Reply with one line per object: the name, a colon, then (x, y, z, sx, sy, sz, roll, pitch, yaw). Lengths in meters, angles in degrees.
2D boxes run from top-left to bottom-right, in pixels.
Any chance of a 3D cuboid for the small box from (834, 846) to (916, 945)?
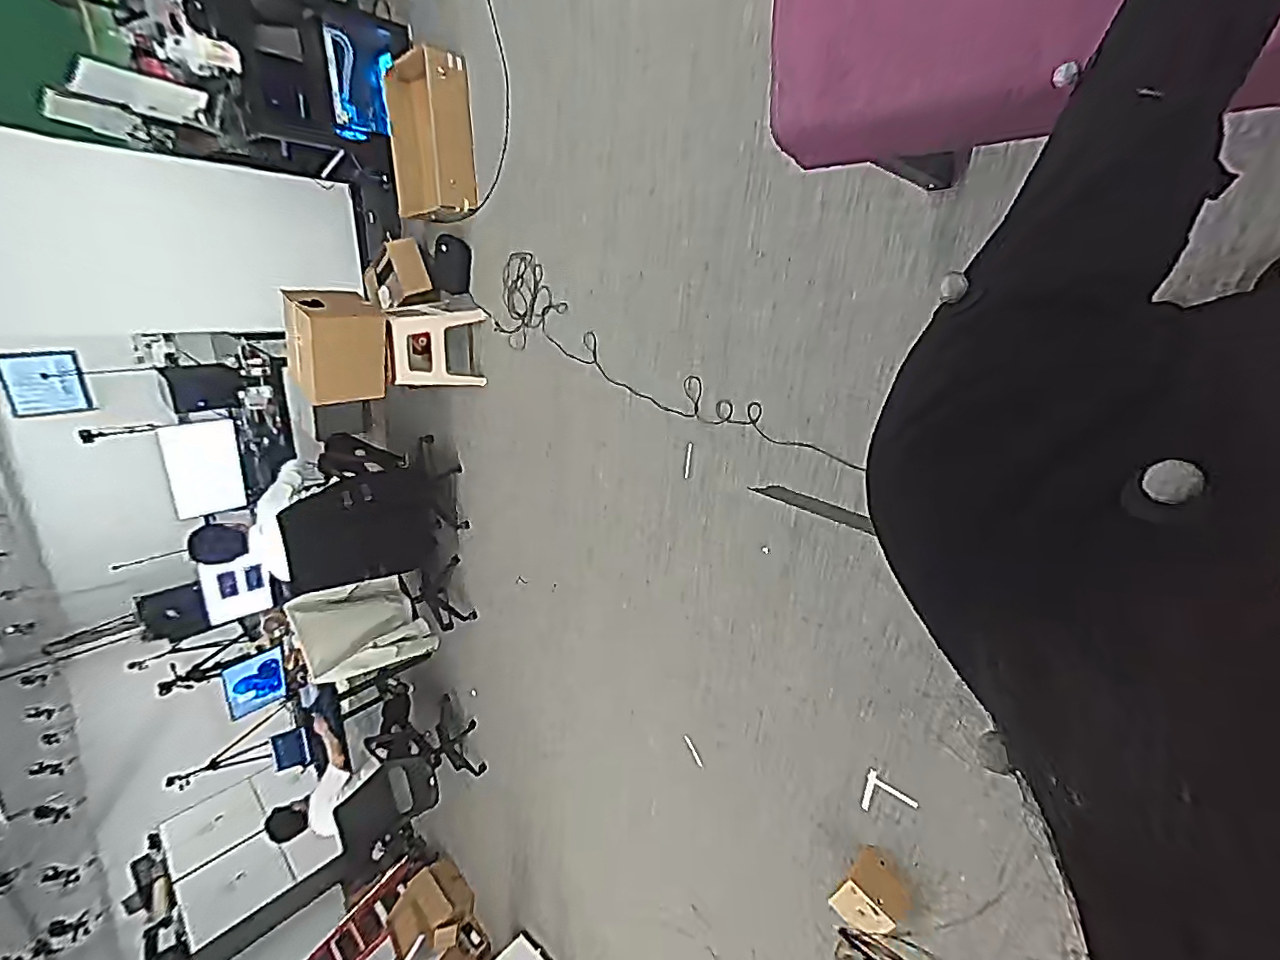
small box: (0.788, 1.381, 1.806, 0.168, 0.176, 0.179, 37, 127, 30)
